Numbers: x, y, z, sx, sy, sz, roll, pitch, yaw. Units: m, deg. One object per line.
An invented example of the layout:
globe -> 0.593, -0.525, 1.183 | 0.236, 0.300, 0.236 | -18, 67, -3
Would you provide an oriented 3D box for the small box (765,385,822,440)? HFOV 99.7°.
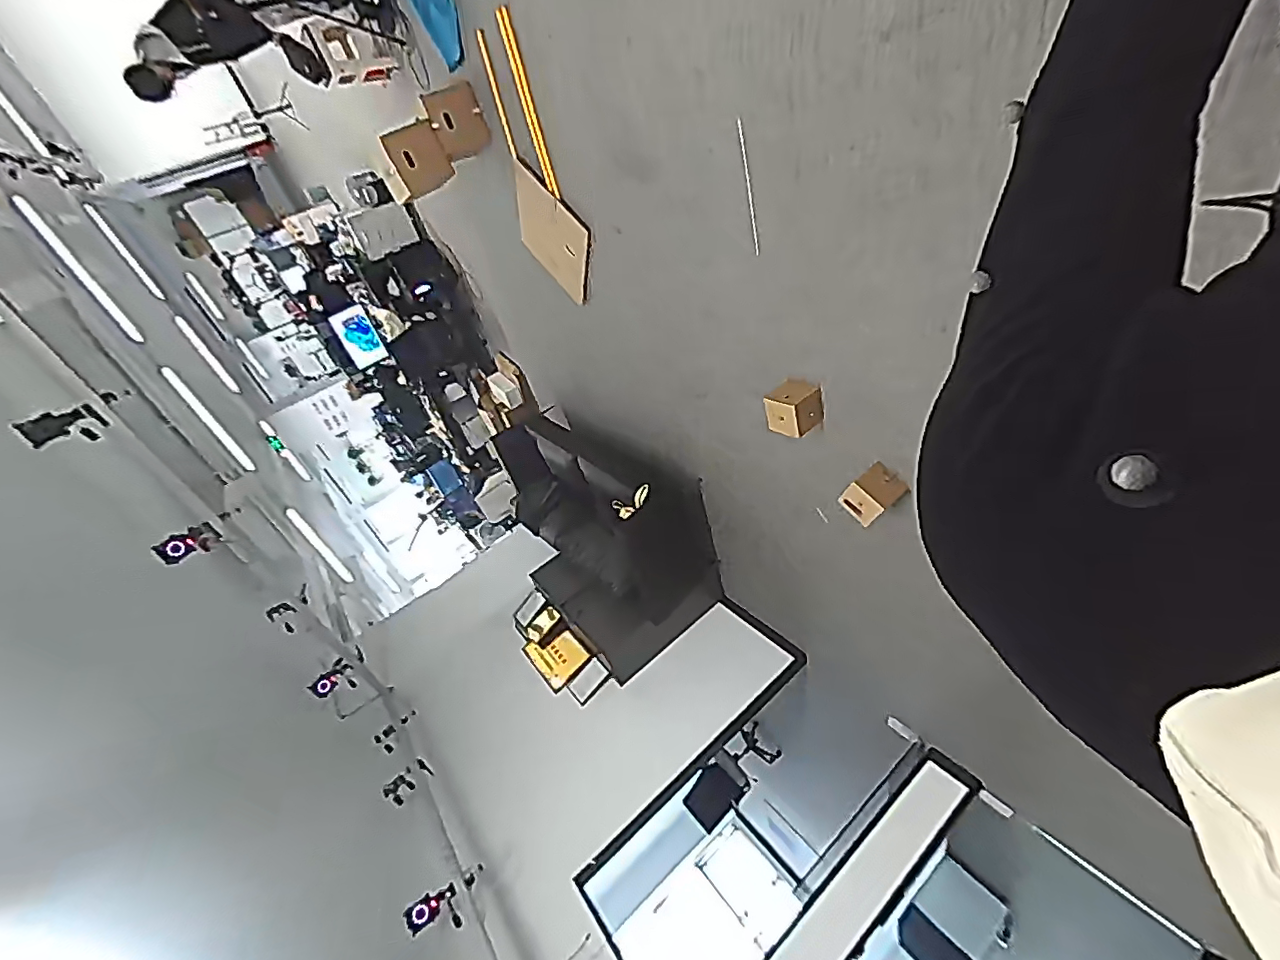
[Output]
small box -> 0.681, -0.302, 2.372 | 0.179, 0.176, 0.168 | 28, 145, 49
